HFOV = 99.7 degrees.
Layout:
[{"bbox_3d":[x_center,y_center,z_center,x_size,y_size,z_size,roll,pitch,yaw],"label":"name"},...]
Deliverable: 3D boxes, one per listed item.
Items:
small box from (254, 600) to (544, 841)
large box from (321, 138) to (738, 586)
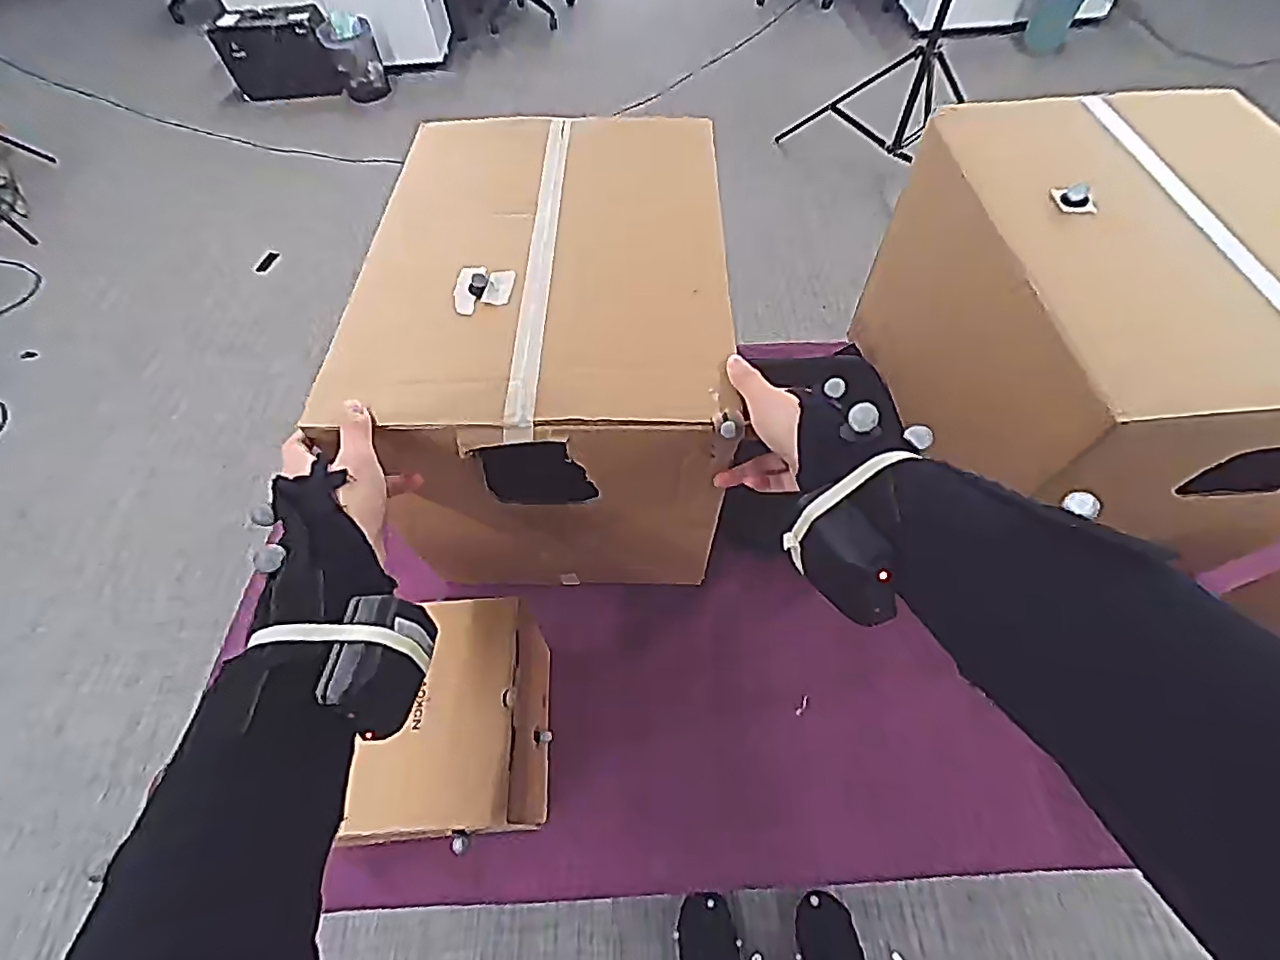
[{"bbox_3d":[-0.188,0.220,0.486,0.179,0.176,0.168,-3,57,-3],"label":"small box"},{"bbox_3d":[-0.083,-0.119,0.615,0.320,0.320,0.408,-1,61,2],"label":"large box"}]
